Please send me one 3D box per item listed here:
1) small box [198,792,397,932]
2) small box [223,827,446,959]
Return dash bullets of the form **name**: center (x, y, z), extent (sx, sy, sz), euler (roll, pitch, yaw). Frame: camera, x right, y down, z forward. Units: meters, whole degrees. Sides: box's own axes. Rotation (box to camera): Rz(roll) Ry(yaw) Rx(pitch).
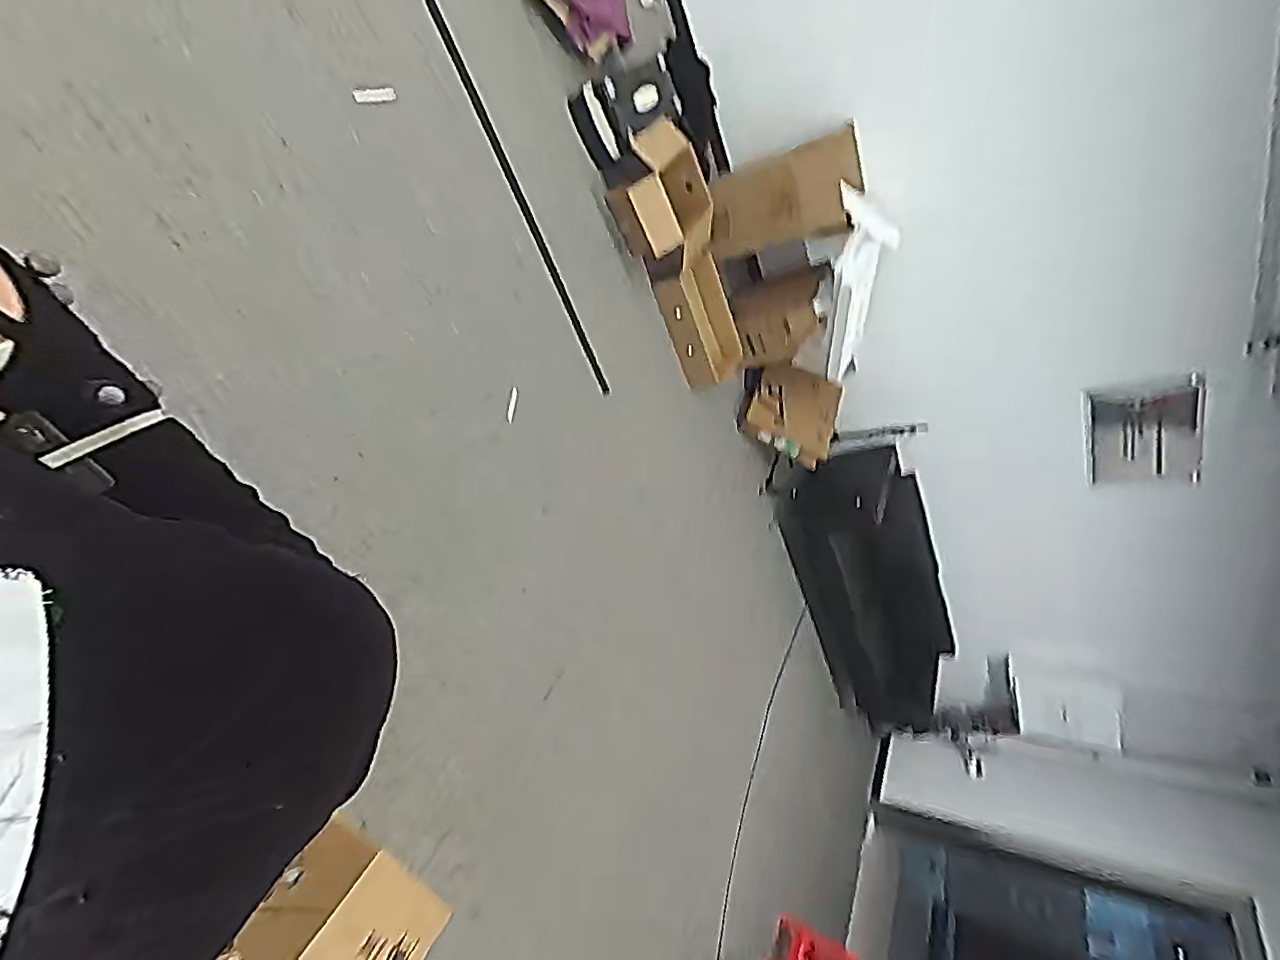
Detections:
- **small box**: center (-0.535, 0.627, 0.852), extent (0.179, 0.176, 0.168), euler (61, 41, -25)
- **small box**: center (-0.413, 0.616, 0.741), extent (0.168, 0.176, 0.179), euler (-51, 123, -45)
